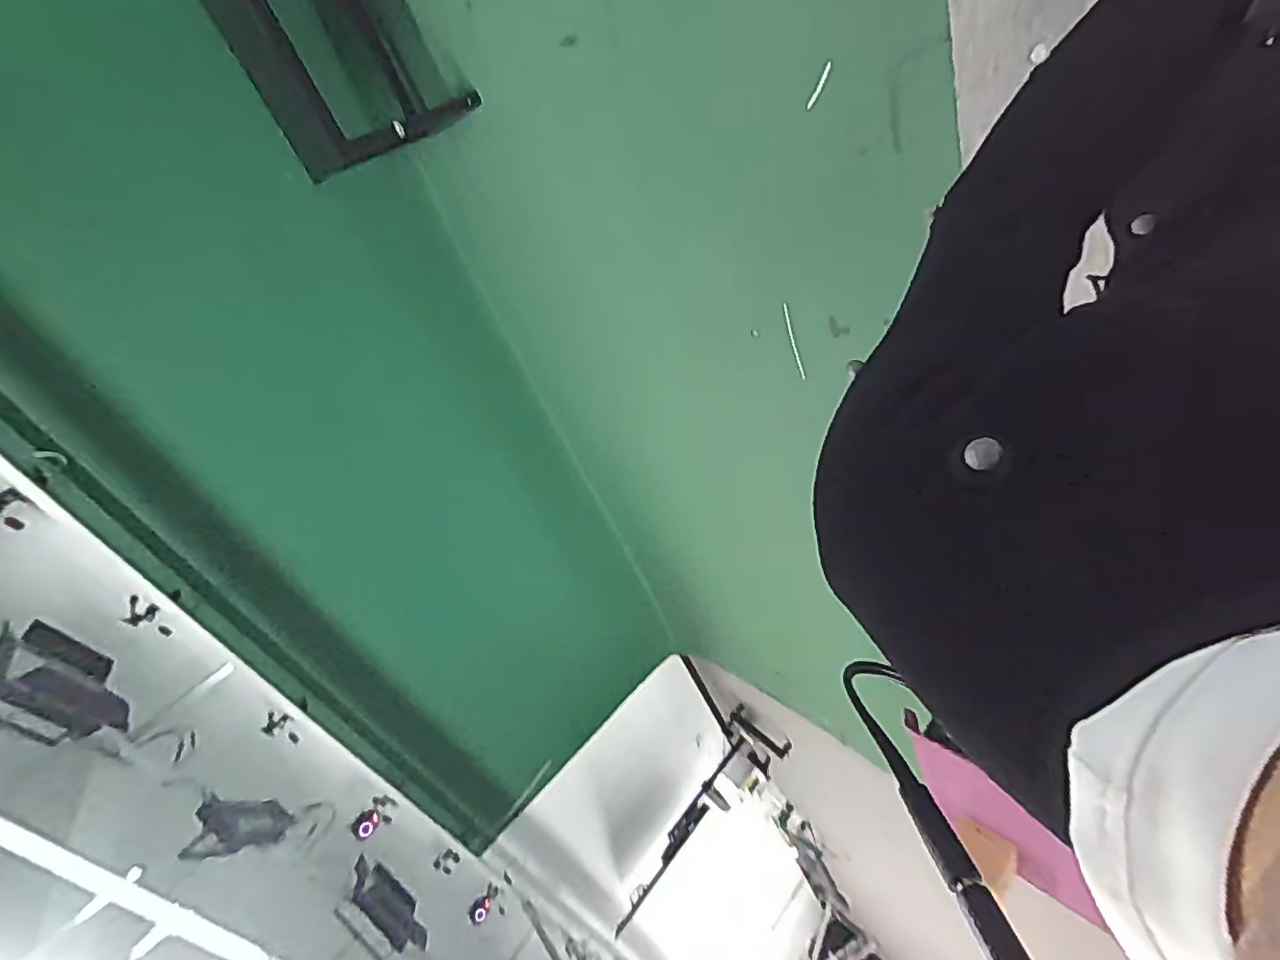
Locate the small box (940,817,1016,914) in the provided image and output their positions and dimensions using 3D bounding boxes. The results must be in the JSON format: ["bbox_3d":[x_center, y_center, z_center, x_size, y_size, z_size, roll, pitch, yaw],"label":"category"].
[{"bbox_3d":[1.128,1.278,1.800,0.168,0.176,0.179,17,140,49],"label":"small box"}]
